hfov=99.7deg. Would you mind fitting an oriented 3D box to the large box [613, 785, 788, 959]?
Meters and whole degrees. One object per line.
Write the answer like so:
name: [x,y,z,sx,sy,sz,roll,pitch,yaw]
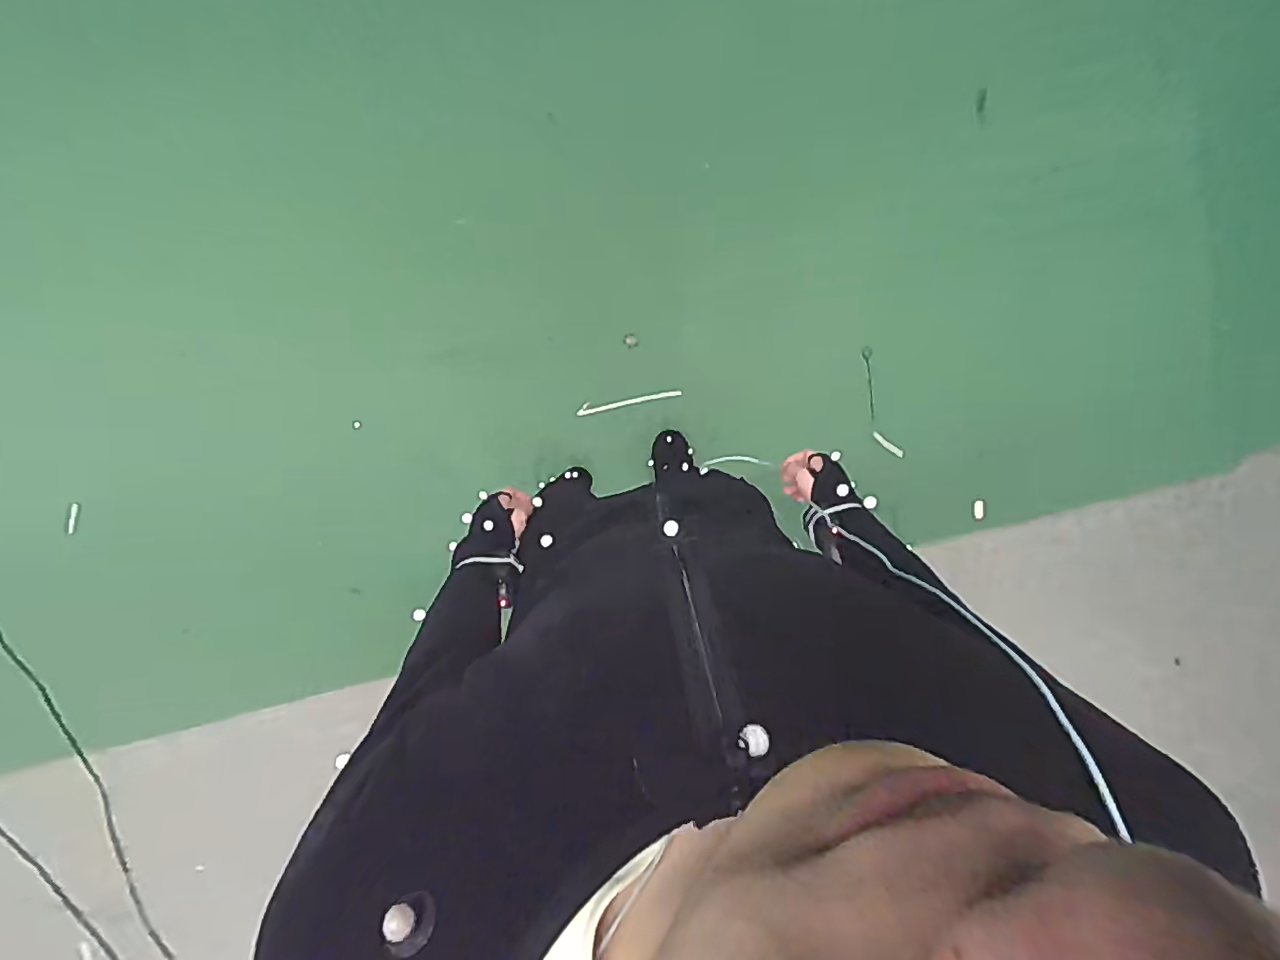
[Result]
large box: [0.156,1.174,1.601,0.408,0.320,0.320,17,94,-6]
